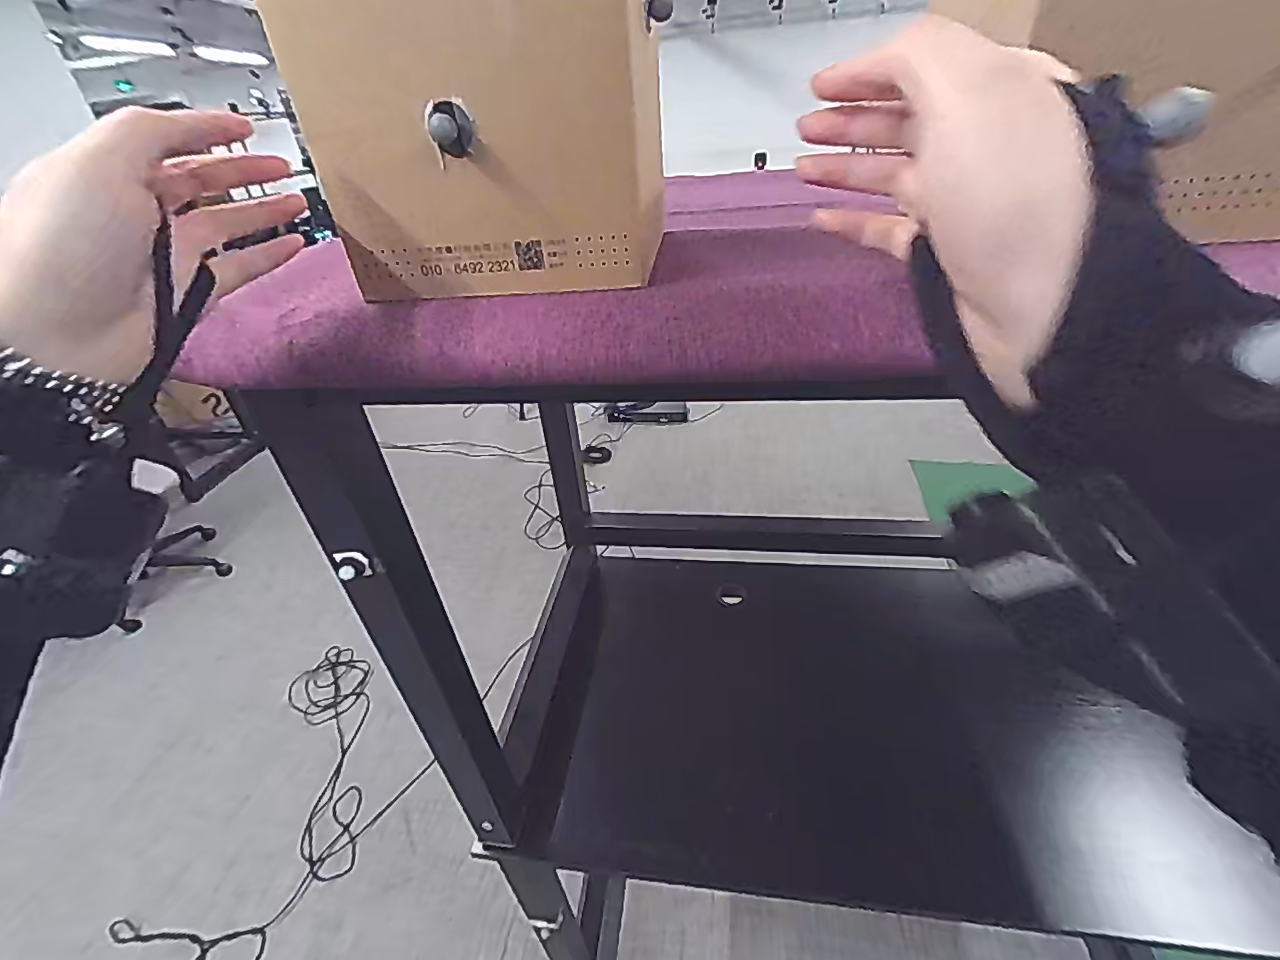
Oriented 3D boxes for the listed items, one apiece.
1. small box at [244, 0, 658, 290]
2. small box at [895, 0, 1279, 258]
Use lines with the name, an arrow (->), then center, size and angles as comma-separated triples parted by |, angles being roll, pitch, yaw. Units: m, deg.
small box -> -0.079, -0.217, 0.320 | 0.168, 0.176, 0.179 | 0, 35, 7
small box -> 0.263, -0.231, 0.294 | 0.179, 0.176, 0.168 | -1, 34, 8
